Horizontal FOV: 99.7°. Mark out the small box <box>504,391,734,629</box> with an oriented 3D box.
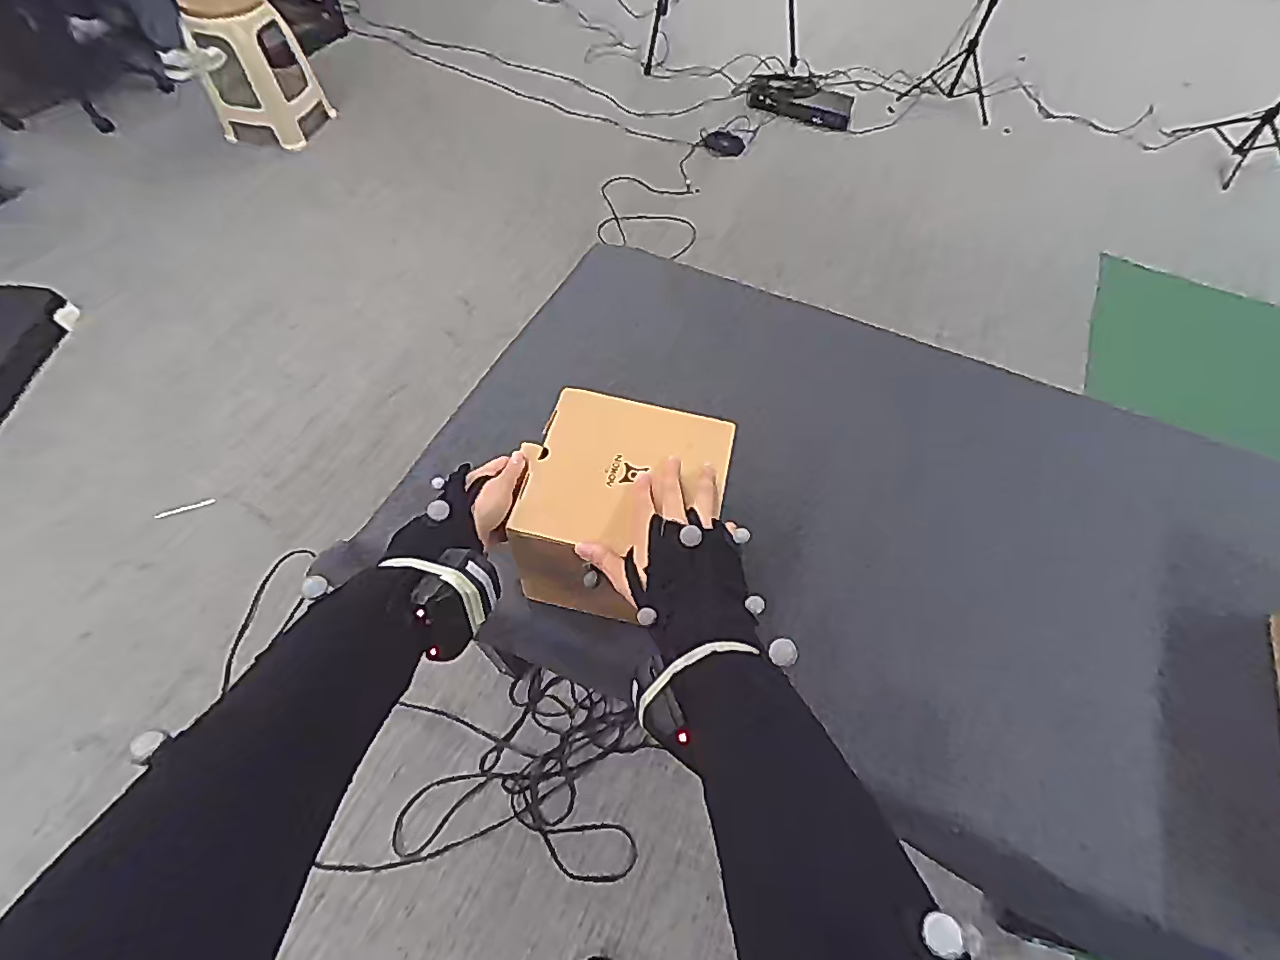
[{"bbox_3d":[-0.016,0.039,0.552,0.179,0.176,0.168,13,58,5],"label":"small box"}]
